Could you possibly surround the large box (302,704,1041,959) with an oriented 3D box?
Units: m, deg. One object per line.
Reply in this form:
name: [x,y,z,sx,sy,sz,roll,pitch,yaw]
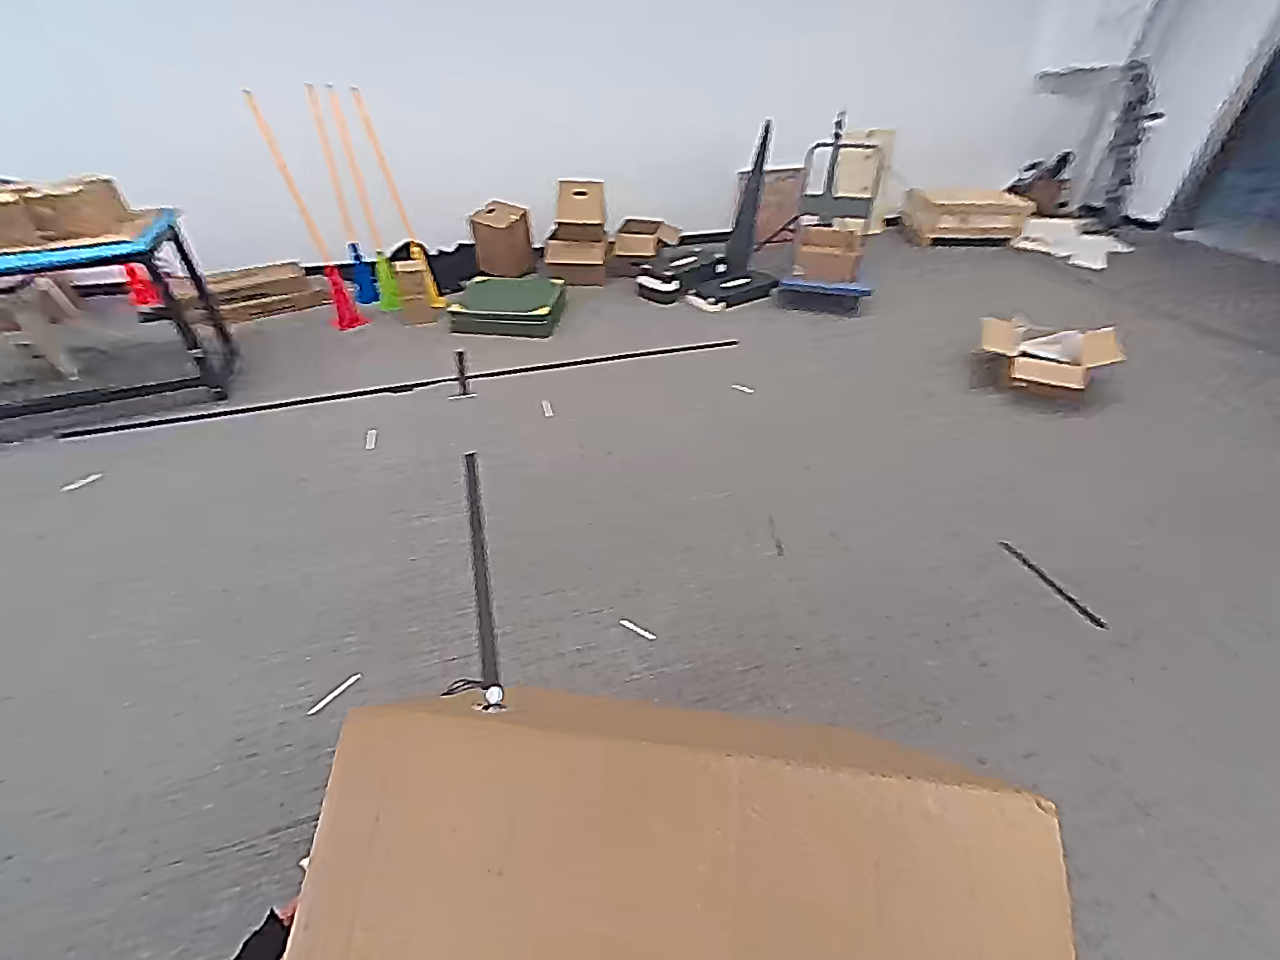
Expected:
large box: [0.013,0.358,0.414,0.408,0.320,0.320,3,72,6]
